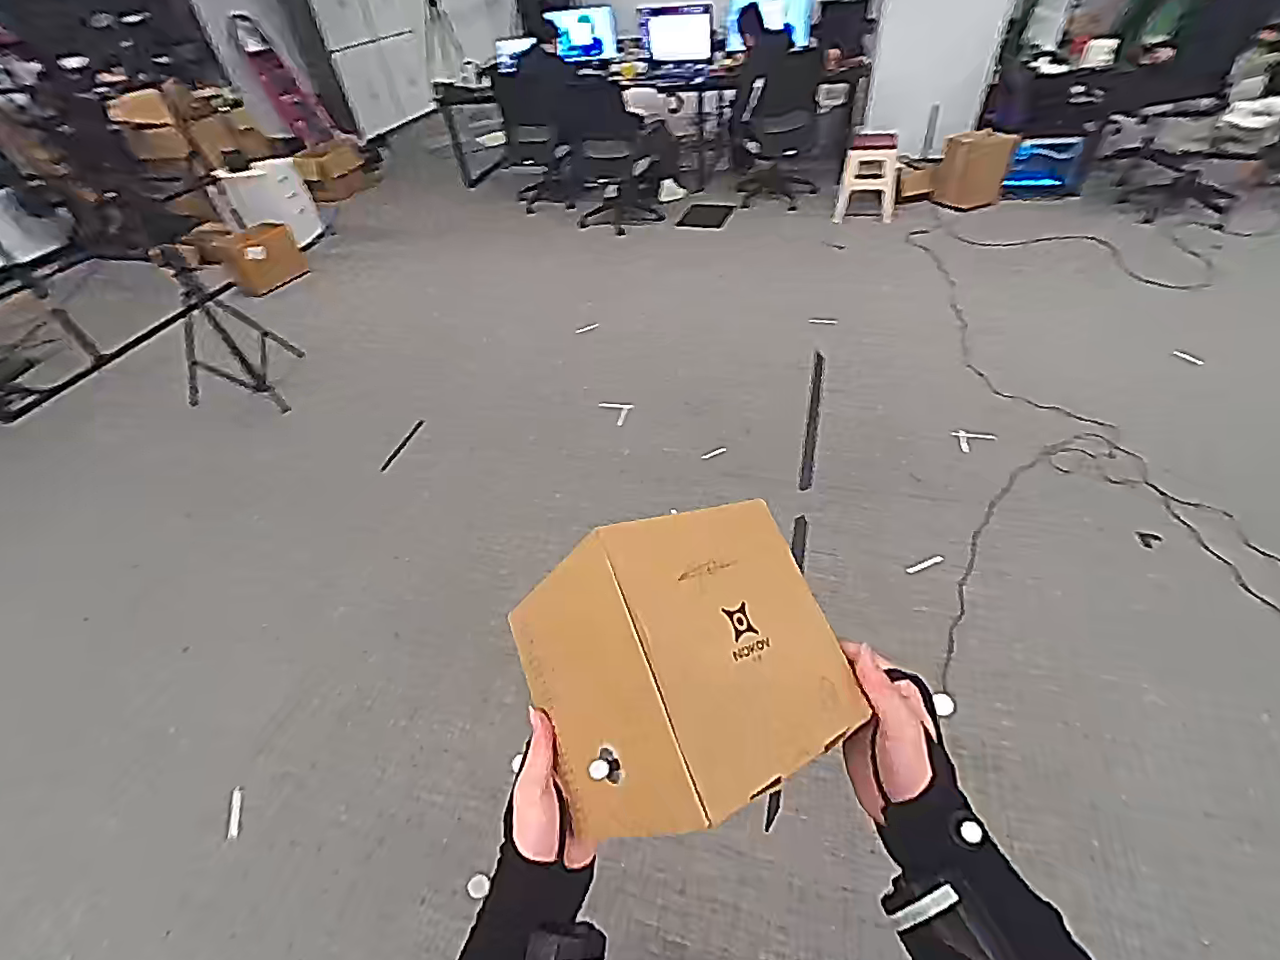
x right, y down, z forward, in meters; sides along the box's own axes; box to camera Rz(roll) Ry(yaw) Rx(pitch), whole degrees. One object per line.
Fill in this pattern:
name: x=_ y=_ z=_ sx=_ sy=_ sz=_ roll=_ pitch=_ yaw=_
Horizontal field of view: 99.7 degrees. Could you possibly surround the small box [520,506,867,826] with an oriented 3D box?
small box: x=0.028 y=0.141 z=0.421 sx=0.168 sy=0.176 sz=0.179 roll=-5 pitch=62 yaw=-38
